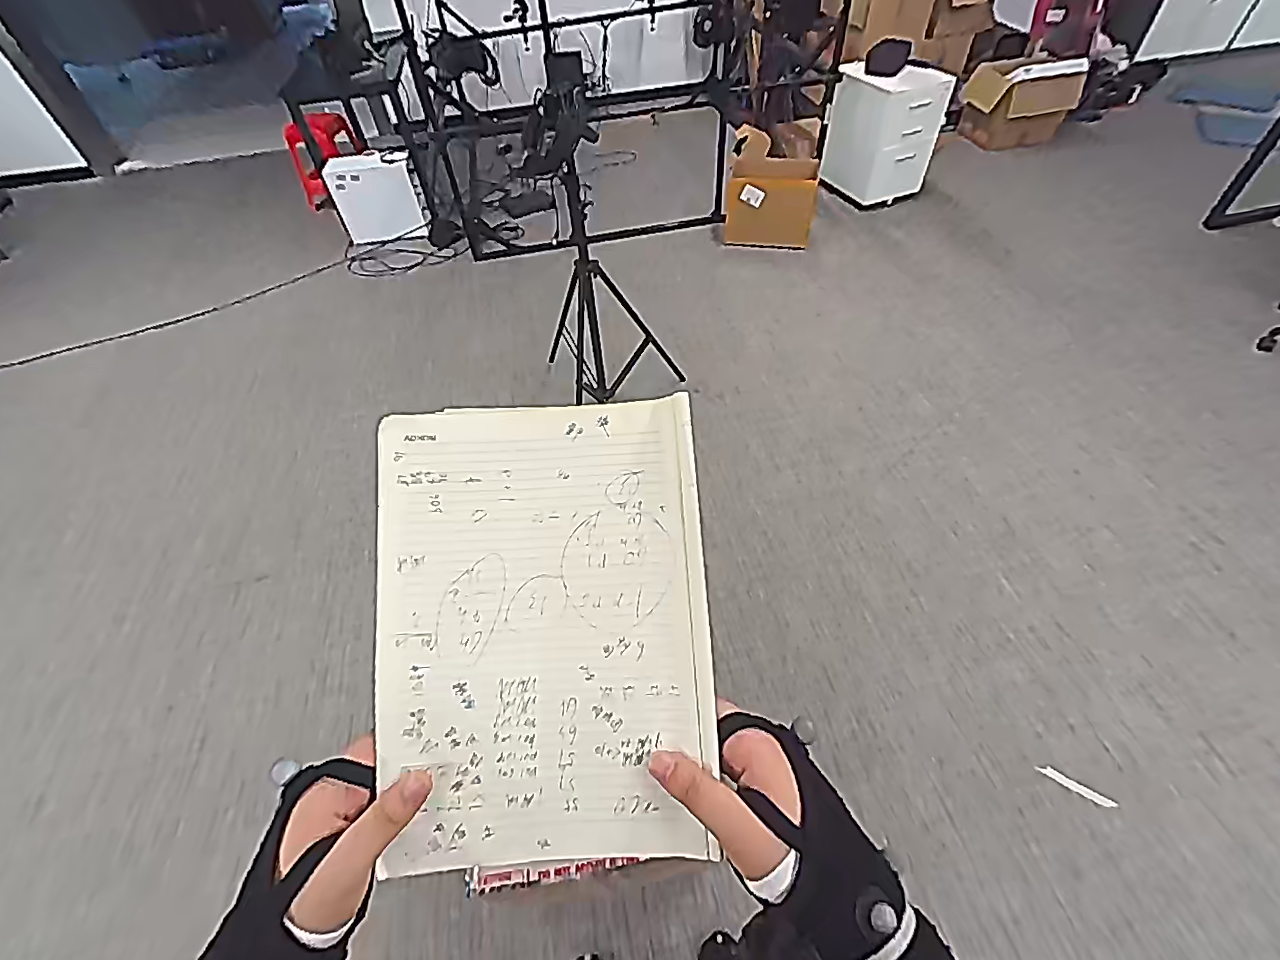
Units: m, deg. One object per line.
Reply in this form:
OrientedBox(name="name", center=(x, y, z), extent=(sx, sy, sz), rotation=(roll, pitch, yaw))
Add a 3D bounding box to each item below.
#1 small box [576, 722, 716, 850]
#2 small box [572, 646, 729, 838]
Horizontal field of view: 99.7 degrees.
OrientedBox(name="small box", center=(0.005, 0.449, 0.835), extent=(0.179, 0.176, 0.168), rotation=(-12, 51, -7))
OrientedBox(name="small box", center=(0.006, 0.344, 0.708), extent=(0.168, 0.176, 0.179), rotation=(-9, 52, -6))
